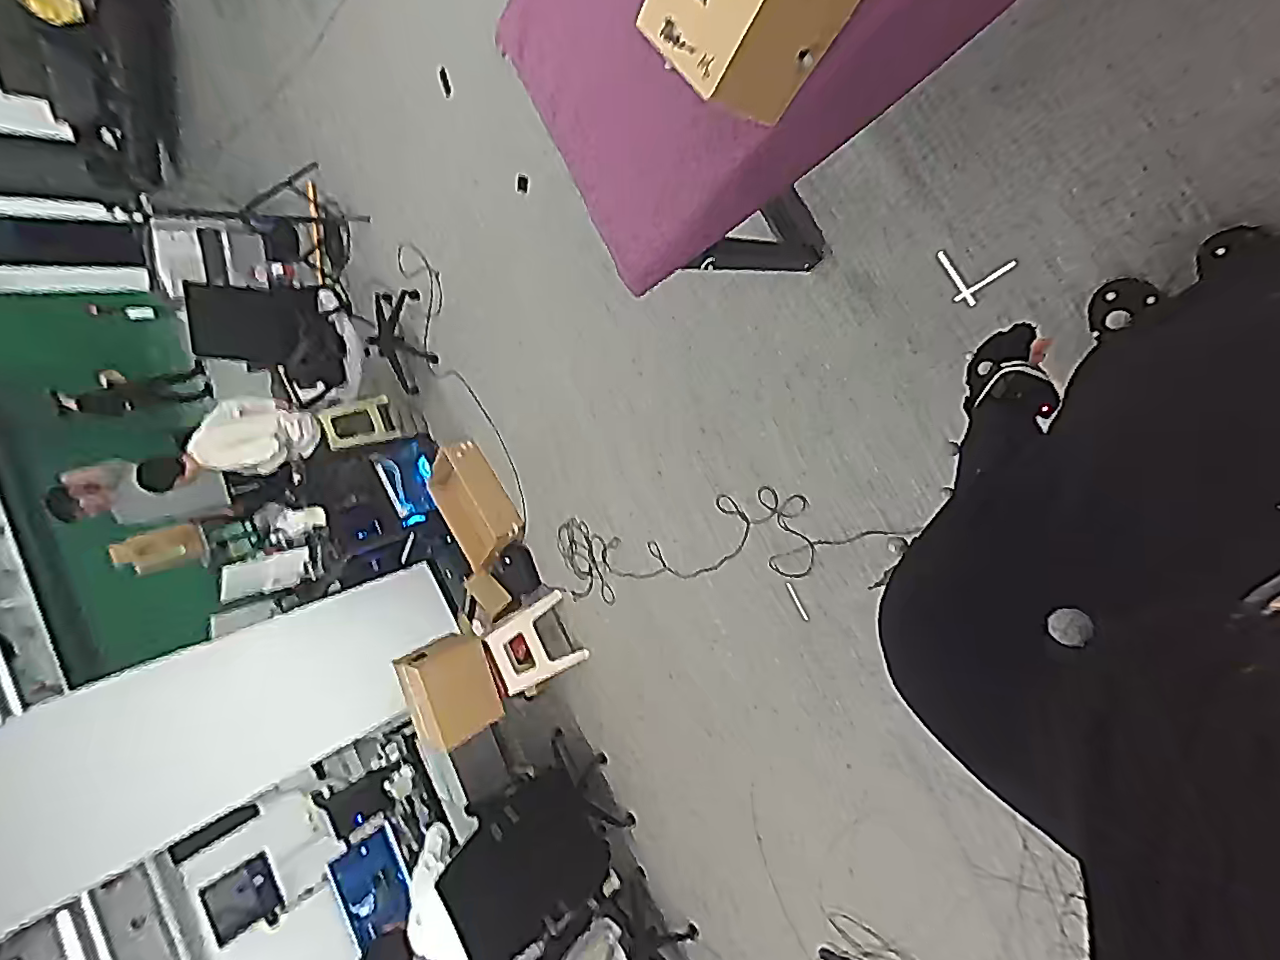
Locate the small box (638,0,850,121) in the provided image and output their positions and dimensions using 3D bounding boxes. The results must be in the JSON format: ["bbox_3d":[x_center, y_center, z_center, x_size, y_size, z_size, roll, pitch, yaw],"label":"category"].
[{"bbox_3d":[0.137,-0.602,0.682,0.168,0.176,0.179,56,134,15],"label":"small box"}]
